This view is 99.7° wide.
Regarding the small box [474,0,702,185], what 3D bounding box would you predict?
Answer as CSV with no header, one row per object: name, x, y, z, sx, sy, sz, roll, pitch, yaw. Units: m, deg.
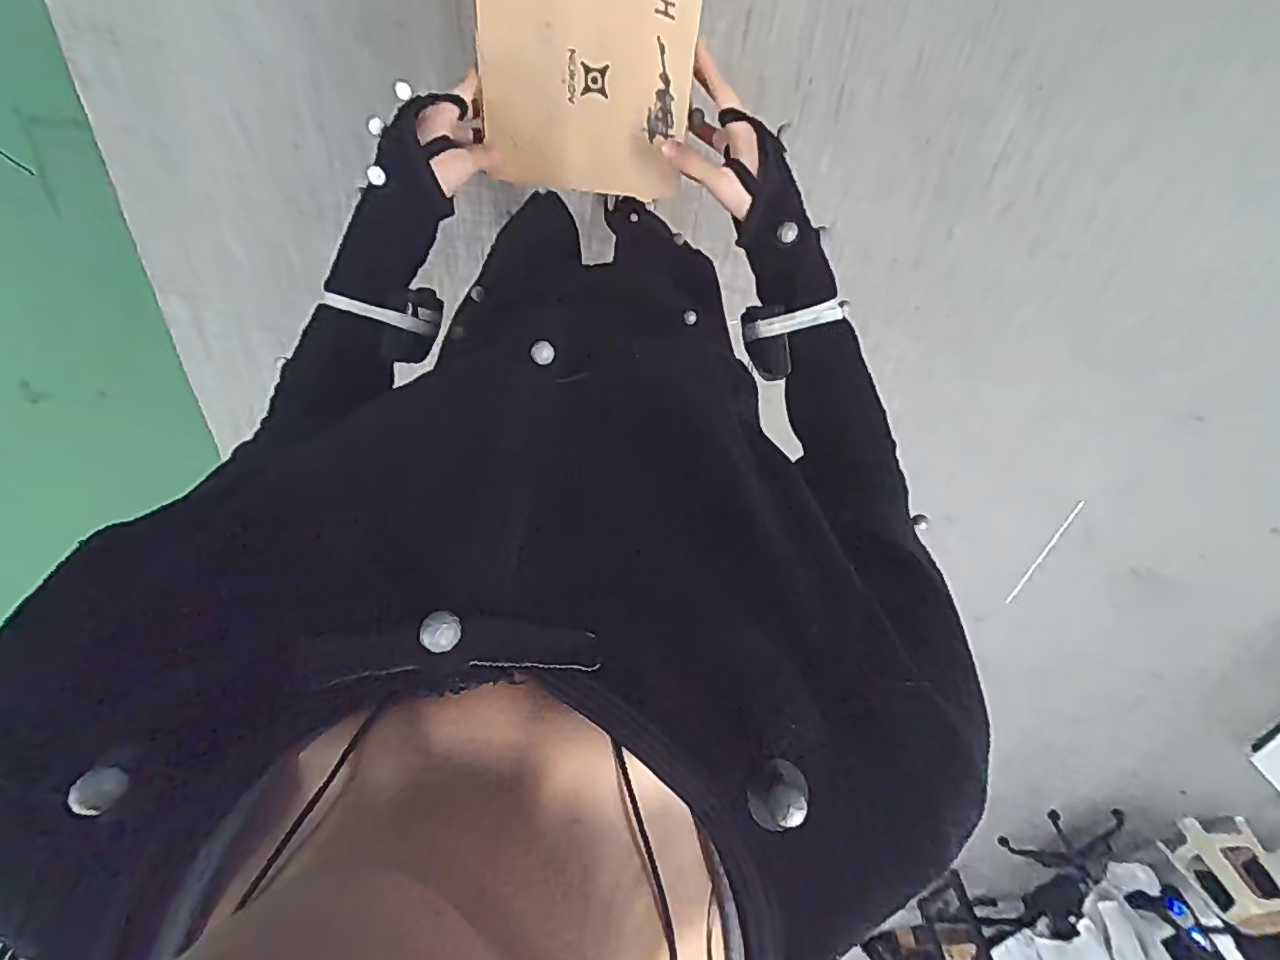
small box,-0.040,-0.390,0.502,0.179,0.176,0.168,7,128,-1
